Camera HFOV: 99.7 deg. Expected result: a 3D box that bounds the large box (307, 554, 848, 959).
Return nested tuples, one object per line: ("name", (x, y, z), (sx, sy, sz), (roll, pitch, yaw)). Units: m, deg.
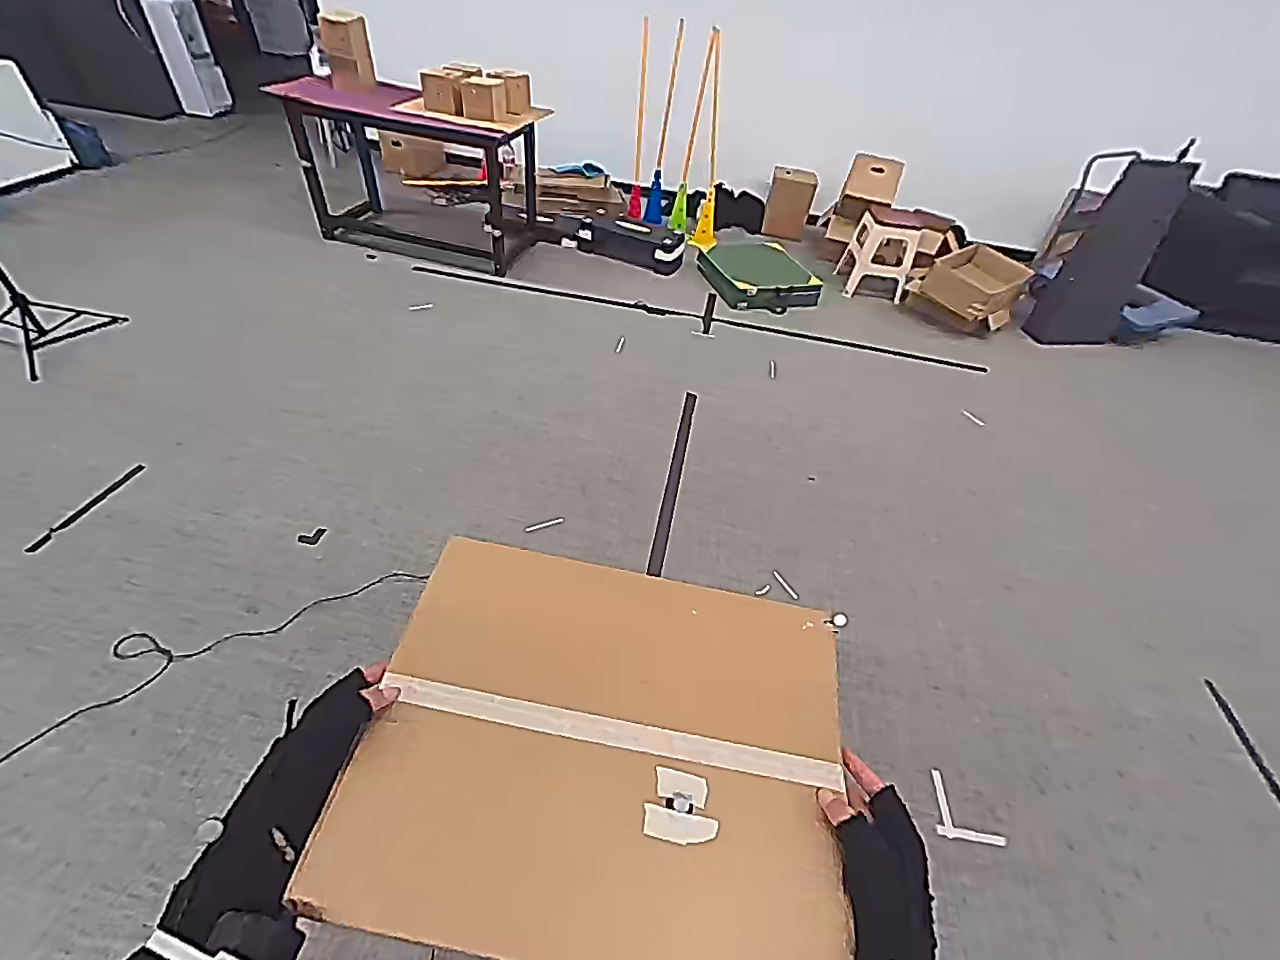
("large box", (-0.041, 0.321, 0.591), (0.408, 0.320, 0.320), (11, 52, 1))
